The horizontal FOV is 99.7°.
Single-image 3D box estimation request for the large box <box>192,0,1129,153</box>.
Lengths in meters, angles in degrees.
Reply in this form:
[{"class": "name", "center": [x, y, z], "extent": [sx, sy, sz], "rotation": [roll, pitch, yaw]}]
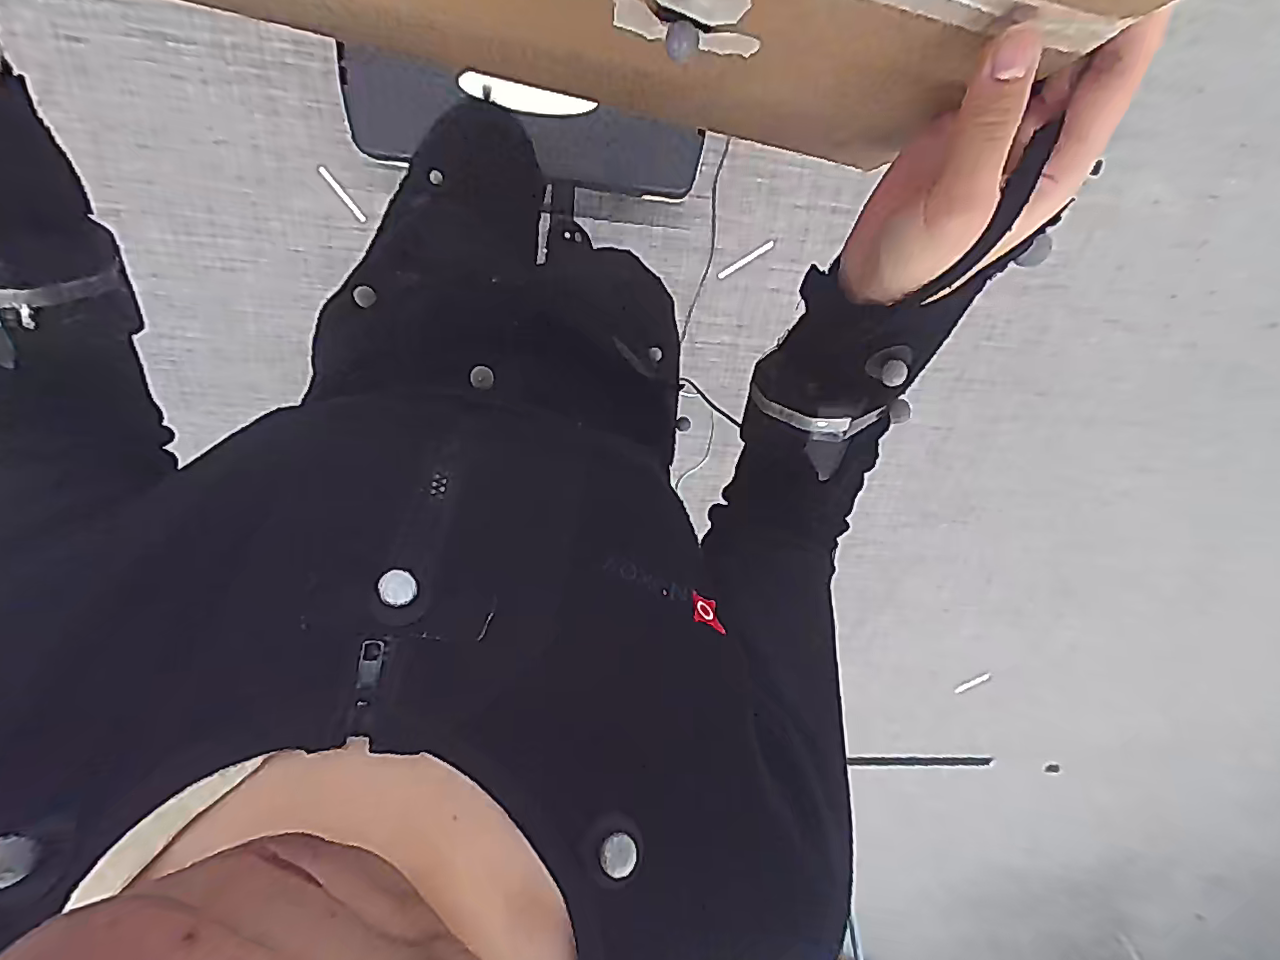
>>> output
[{"class": "large box", "center": [-0.018, -0.325, 0.115], "extent": [0.408, 0.320, 0.320], "rotation": [7, 105, -9]}]
